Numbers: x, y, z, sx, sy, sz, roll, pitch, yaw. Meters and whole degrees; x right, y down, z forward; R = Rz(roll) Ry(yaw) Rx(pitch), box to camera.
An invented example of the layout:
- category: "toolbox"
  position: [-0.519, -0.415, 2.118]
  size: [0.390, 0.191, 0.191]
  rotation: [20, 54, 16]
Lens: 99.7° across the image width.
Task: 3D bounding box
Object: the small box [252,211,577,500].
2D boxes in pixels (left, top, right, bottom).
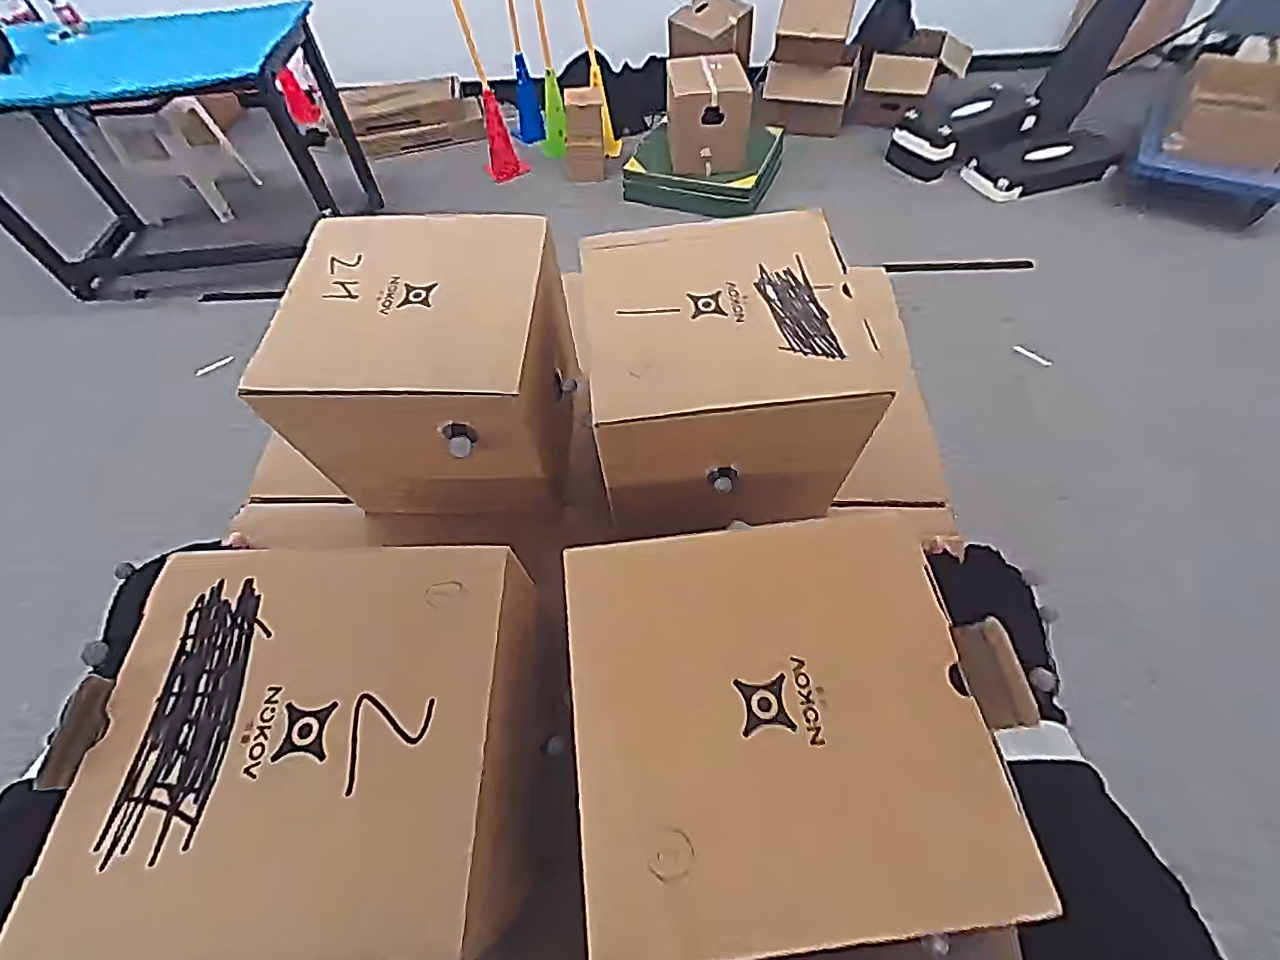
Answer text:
- category: "small box"
  position: [-0.153, -0.092, 0.445]
  size: [0.179, 0.176, 0.168]
  rotation: [1, 61, 4]
